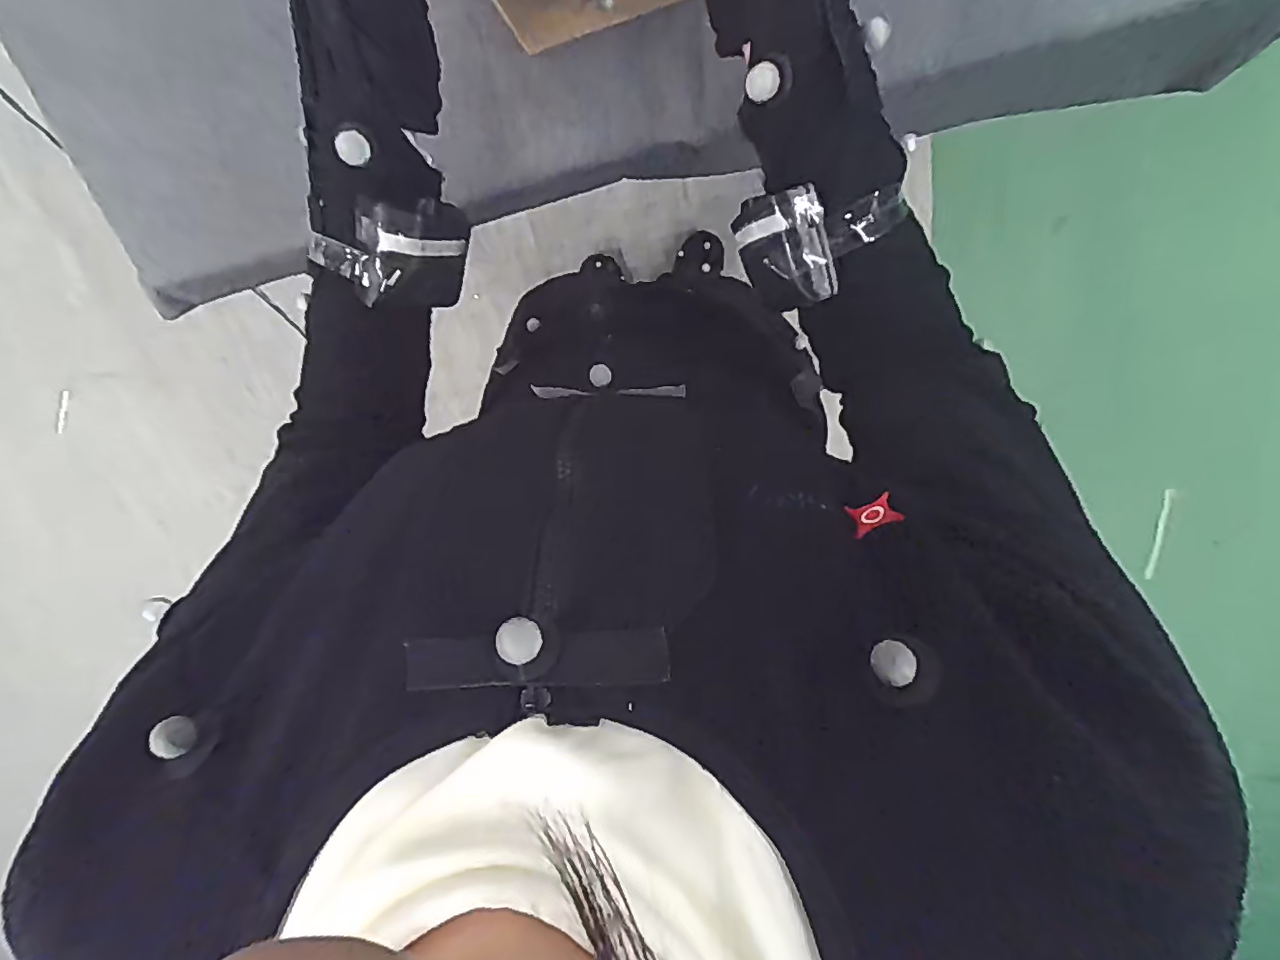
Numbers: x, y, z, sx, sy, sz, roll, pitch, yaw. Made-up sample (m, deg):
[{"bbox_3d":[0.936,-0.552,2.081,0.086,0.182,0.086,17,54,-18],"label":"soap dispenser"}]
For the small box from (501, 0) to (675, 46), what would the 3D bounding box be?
[{"bbox_3d":[-0.041,-0.466,0.401,0.179,0.176,0.168,-14,114,7],"label":"small box"}]

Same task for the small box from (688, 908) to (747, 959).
[{"bbox_3d":[0.270,1.623,1.872,0.179,0.176,0.168,-15,113,8],"label":"small box"}]
